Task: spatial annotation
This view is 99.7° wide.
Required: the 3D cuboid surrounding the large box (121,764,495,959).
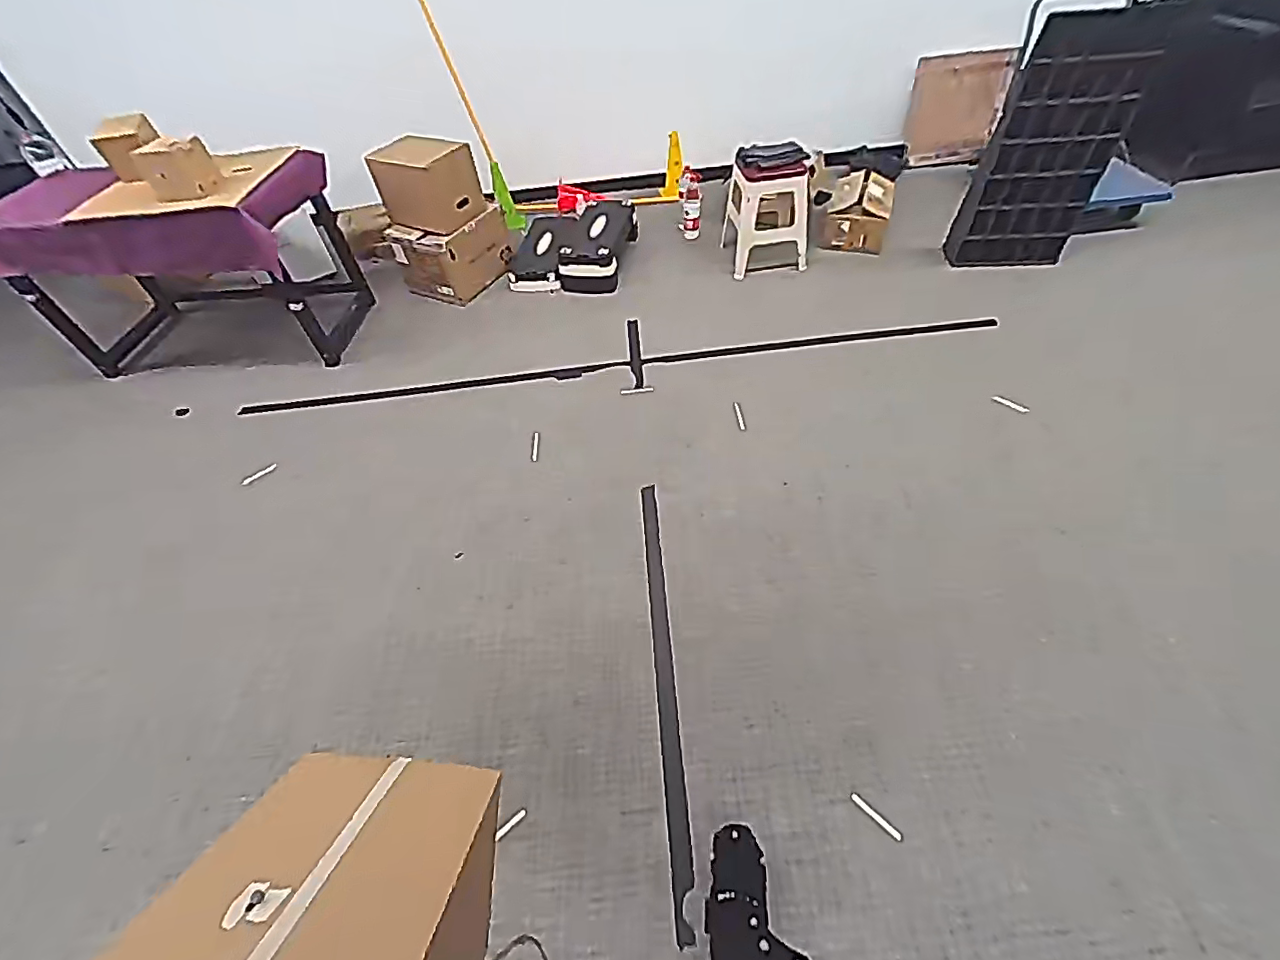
[{"bbox_3d":[-0.396,0.640,0.693,0.320,0.320,0.408,4,6,0],"label":"large box"}]
